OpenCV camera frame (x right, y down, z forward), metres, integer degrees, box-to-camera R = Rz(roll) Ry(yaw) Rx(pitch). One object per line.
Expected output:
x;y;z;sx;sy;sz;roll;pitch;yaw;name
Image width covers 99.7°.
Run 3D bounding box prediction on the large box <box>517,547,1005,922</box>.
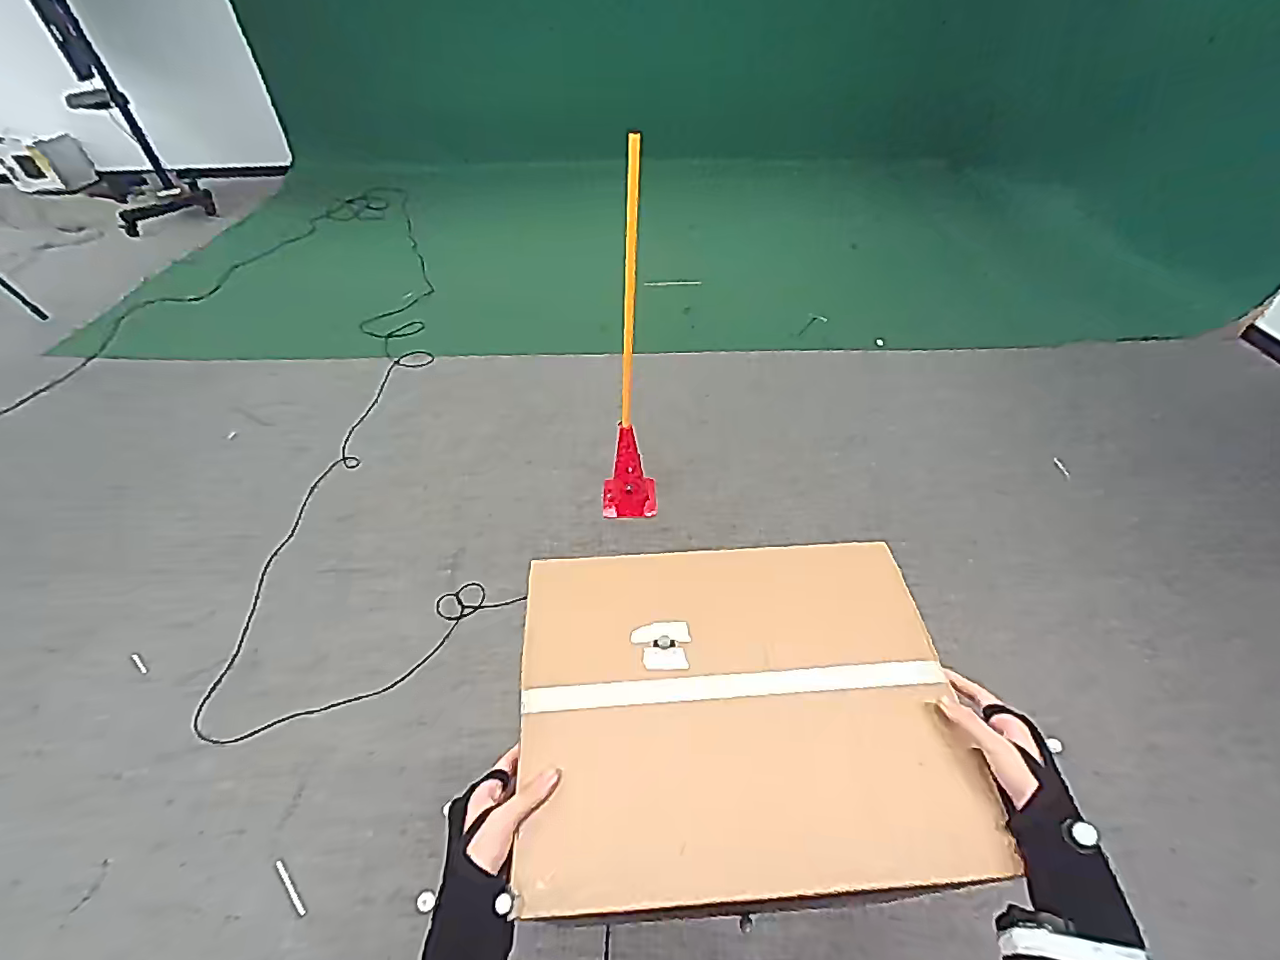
0.093;0.303;0.636;0.408;0.320;0.320;-4;49;-2;large box
